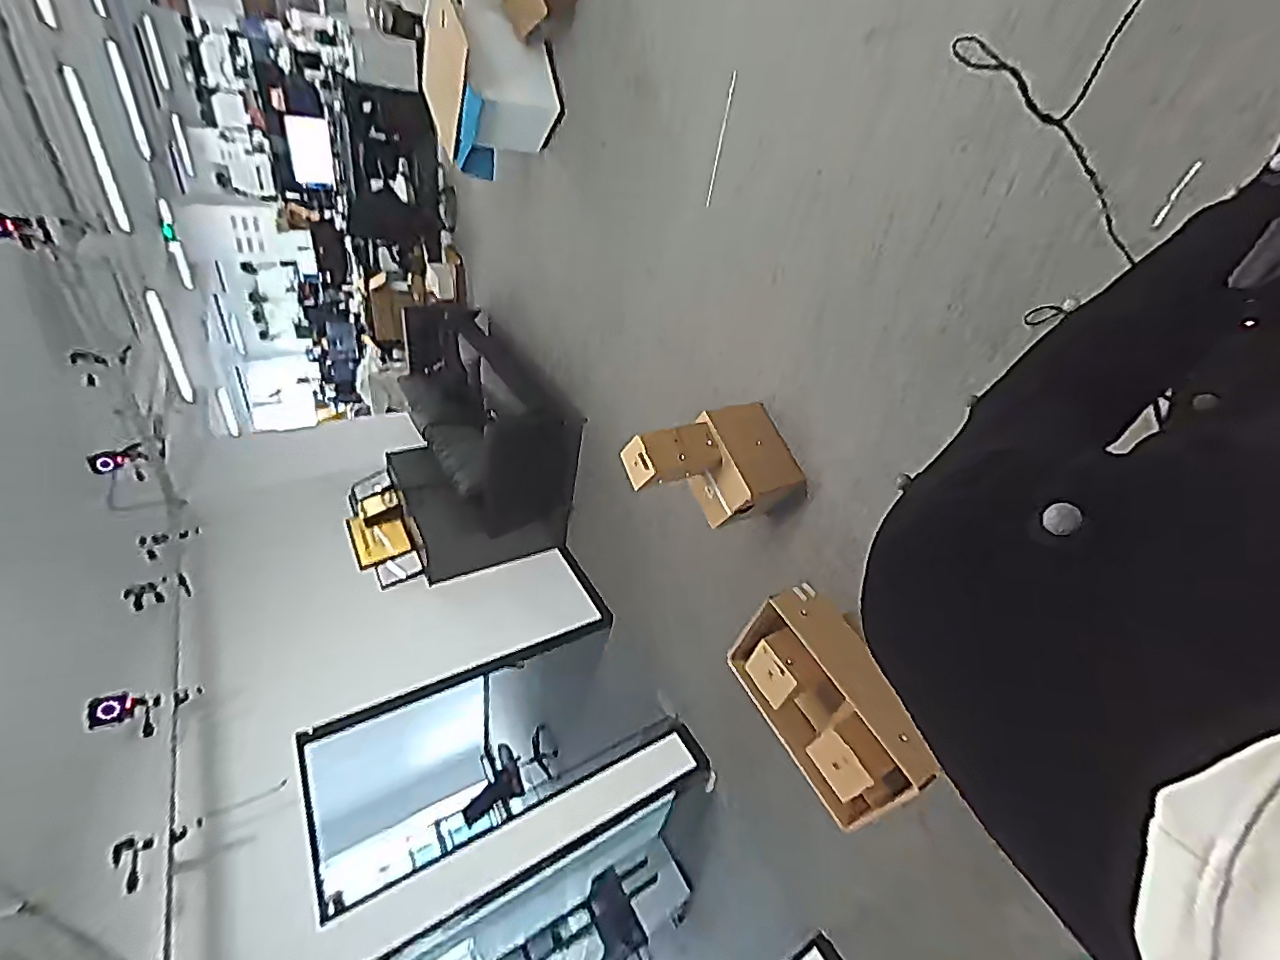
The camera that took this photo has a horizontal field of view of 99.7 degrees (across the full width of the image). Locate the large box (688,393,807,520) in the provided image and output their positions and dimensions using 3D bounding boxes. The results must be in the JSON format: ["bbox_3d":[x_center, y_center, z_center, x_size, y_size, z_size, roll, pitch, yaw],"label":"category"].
[{"bbox_3d":[0.414,-0.102,2.276,0.408,0.320,0.320,63,148,19],"label":"large box"}]

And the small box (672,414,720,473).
[{"bbox_3d":[0.188,-0.143,2.147,0.179,0.176,0.168,-42,67,54],"label":"small box"}]

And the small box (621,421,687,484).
[{"bbox_3d":[0.058,-0.108,2.055,0.179,0.176,0.168,-43,67,56],"label":"small box"}]
